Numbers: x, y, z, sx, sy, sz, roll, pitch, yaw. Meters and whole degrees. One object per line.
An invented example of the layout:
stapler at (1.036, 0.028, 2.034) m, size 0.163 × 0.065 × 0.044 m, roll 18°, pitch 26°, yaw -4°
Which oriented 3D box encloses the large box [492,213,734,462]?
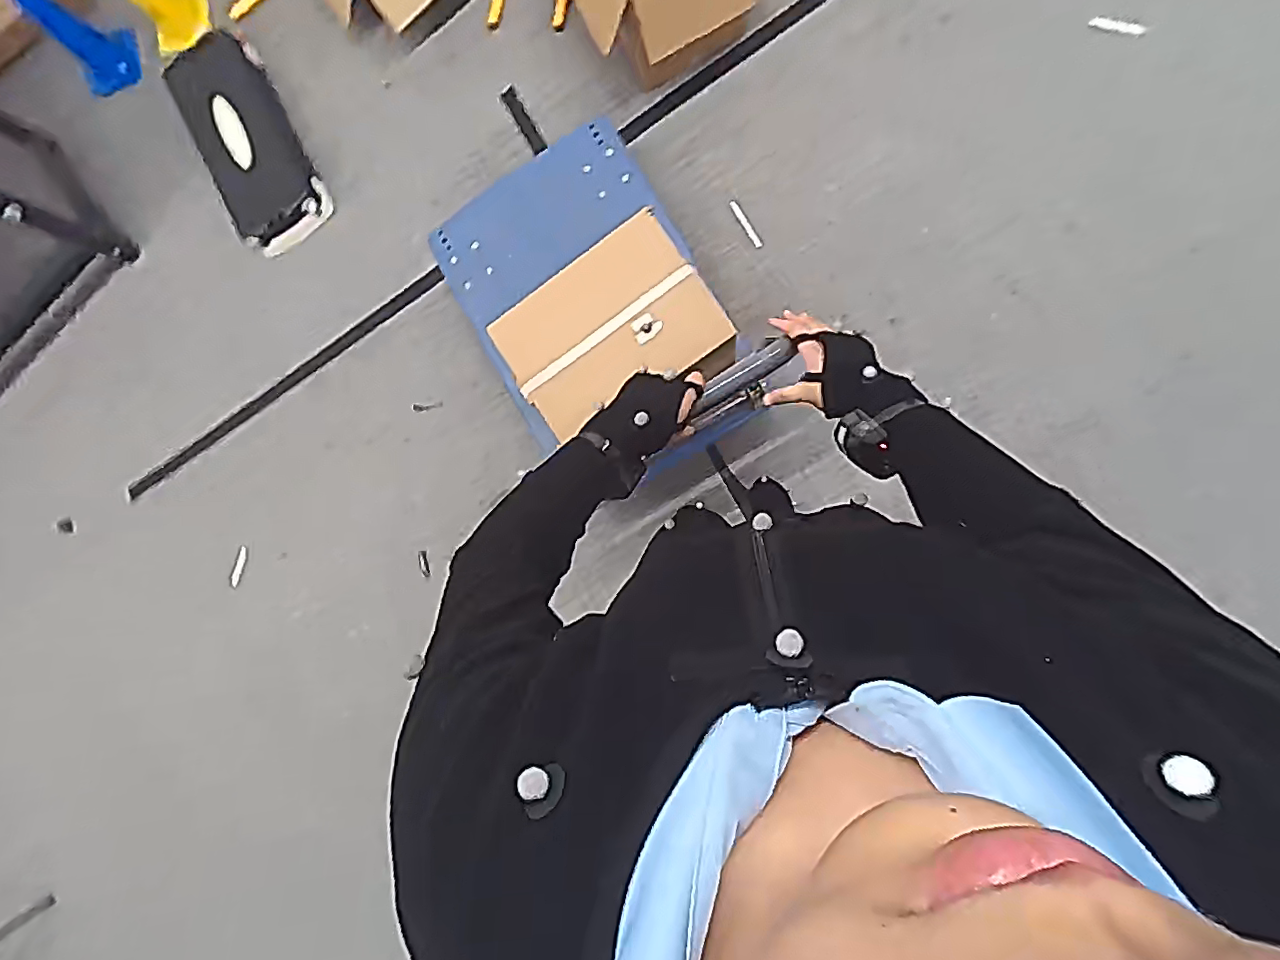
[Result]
large box at (-0.042, -0.285, 1.217) m, size 0.408 × 0.320 × 0.320 m, roll -35°, pitch 85°, yaw 6°
